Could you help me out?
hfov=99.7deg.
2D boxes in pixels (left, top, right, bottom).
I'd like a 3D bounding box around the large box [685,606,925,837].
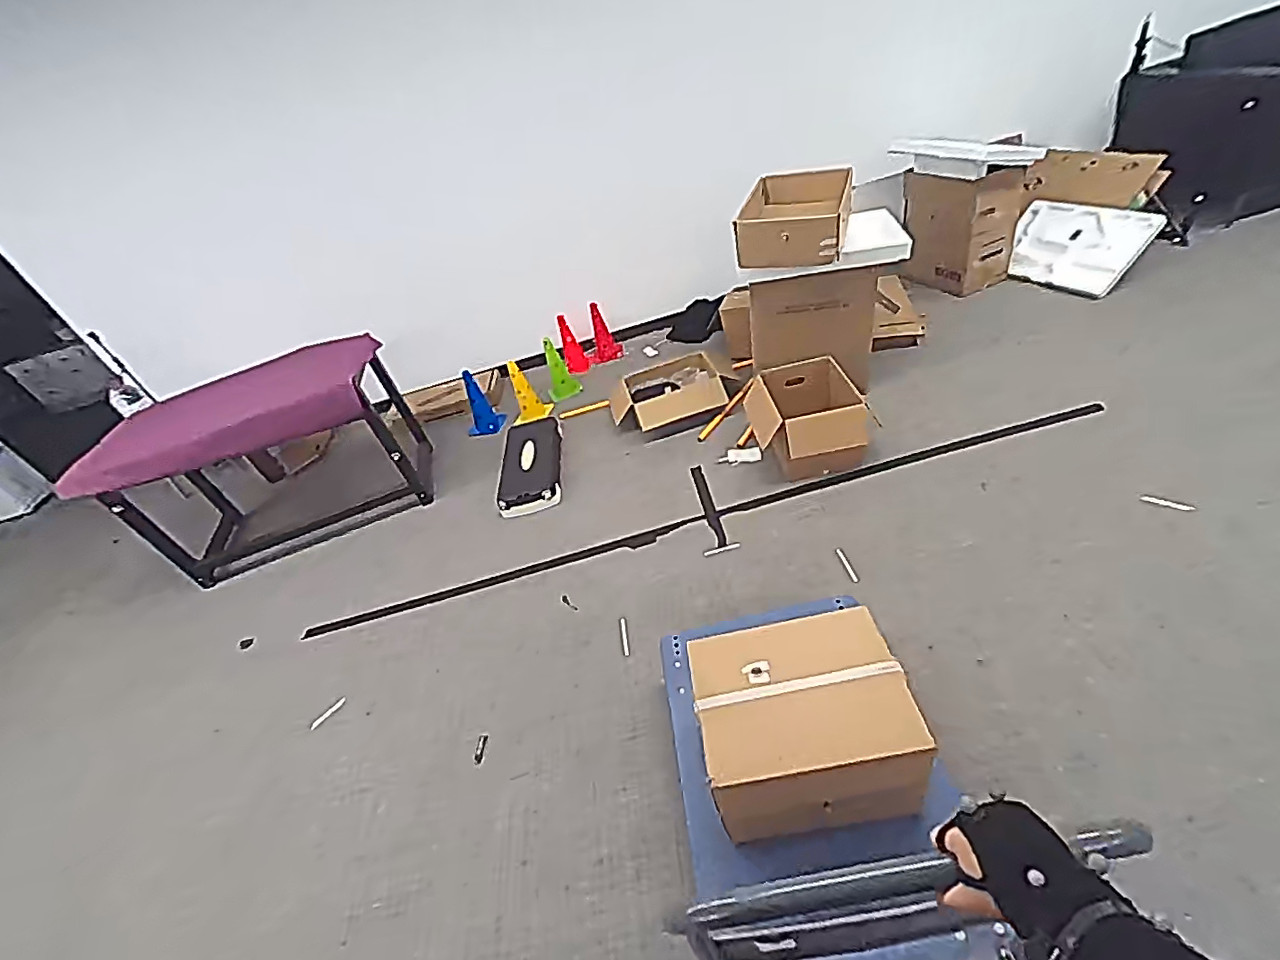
[{"bbox_3d":[0.345,0.531,1.187,0.408,0.320,0.320,-15,37,5],"label":"large box"}]
